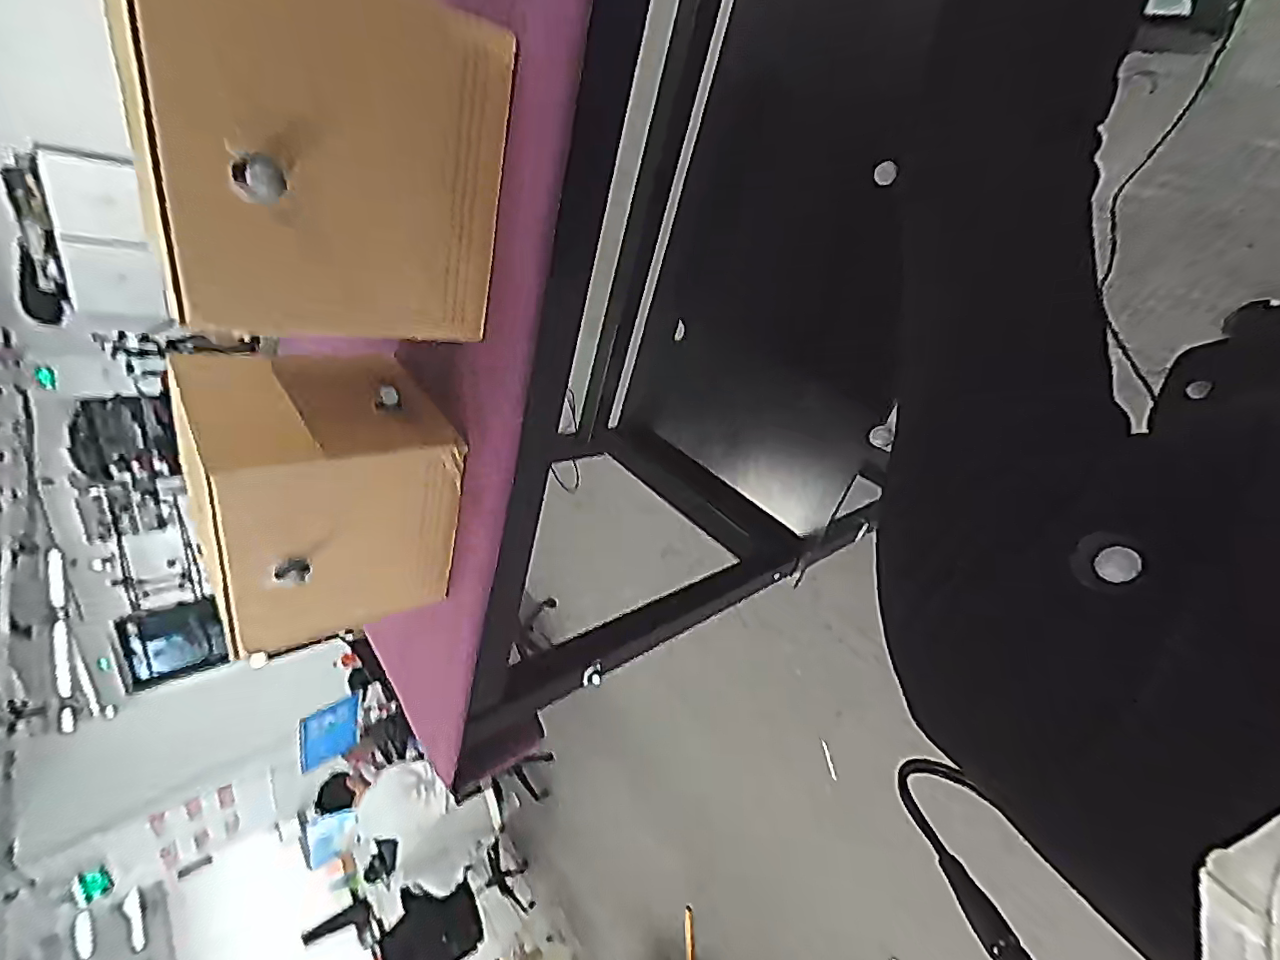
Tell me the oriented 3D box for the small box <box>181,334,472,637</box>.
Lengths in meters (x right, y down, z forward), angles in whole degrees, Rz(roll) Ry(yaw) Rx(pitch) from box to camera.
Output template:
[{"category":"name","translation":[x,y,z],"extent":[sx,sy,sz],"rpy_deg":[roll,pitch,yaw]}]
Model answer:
[{"category":"small box","translation":[-0.260,-0.006,0.458],"extent":[0.168,0.176,0.179],"rpy_deg":[42,126,33]}]

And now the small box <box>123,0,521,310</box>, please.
[{"category":"small box","translation":[-0.191,-0.219,0.336],"extent":[0.168,0.176,0.179],"rpy_deg":[40,127,35]}]
